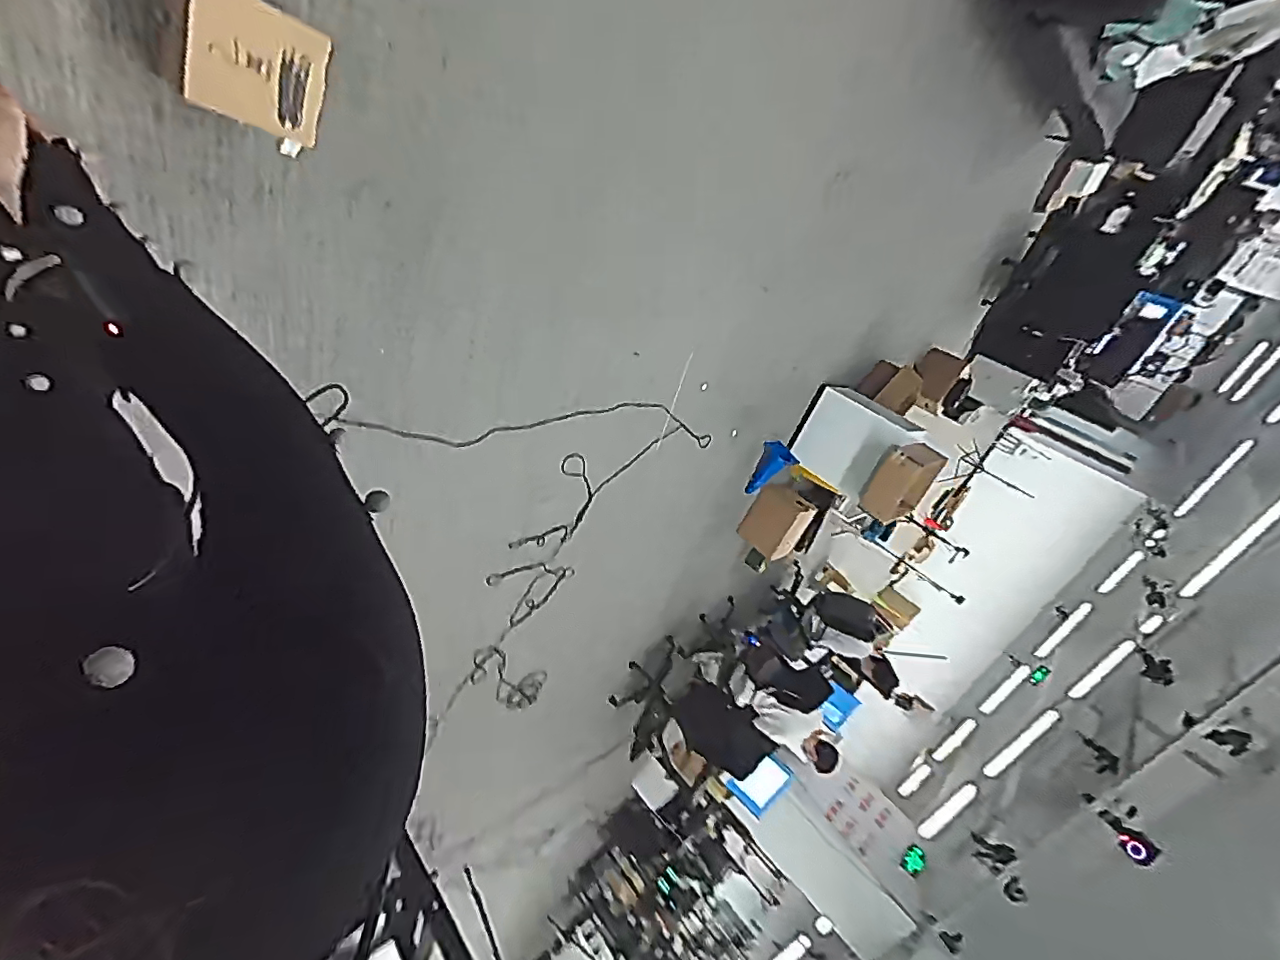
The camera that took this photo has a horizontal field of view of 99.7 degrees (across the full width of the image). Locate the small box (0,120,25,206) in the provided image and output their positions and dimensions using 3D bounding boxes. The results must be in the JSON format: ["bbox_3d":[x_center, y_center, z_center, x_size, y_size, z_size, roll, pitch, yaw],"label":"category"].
[{"bbox_3d":[-0.564,-0.303,0.353,0.168,0.176,0.179,-21,143,-39],"label":"small box"}]
